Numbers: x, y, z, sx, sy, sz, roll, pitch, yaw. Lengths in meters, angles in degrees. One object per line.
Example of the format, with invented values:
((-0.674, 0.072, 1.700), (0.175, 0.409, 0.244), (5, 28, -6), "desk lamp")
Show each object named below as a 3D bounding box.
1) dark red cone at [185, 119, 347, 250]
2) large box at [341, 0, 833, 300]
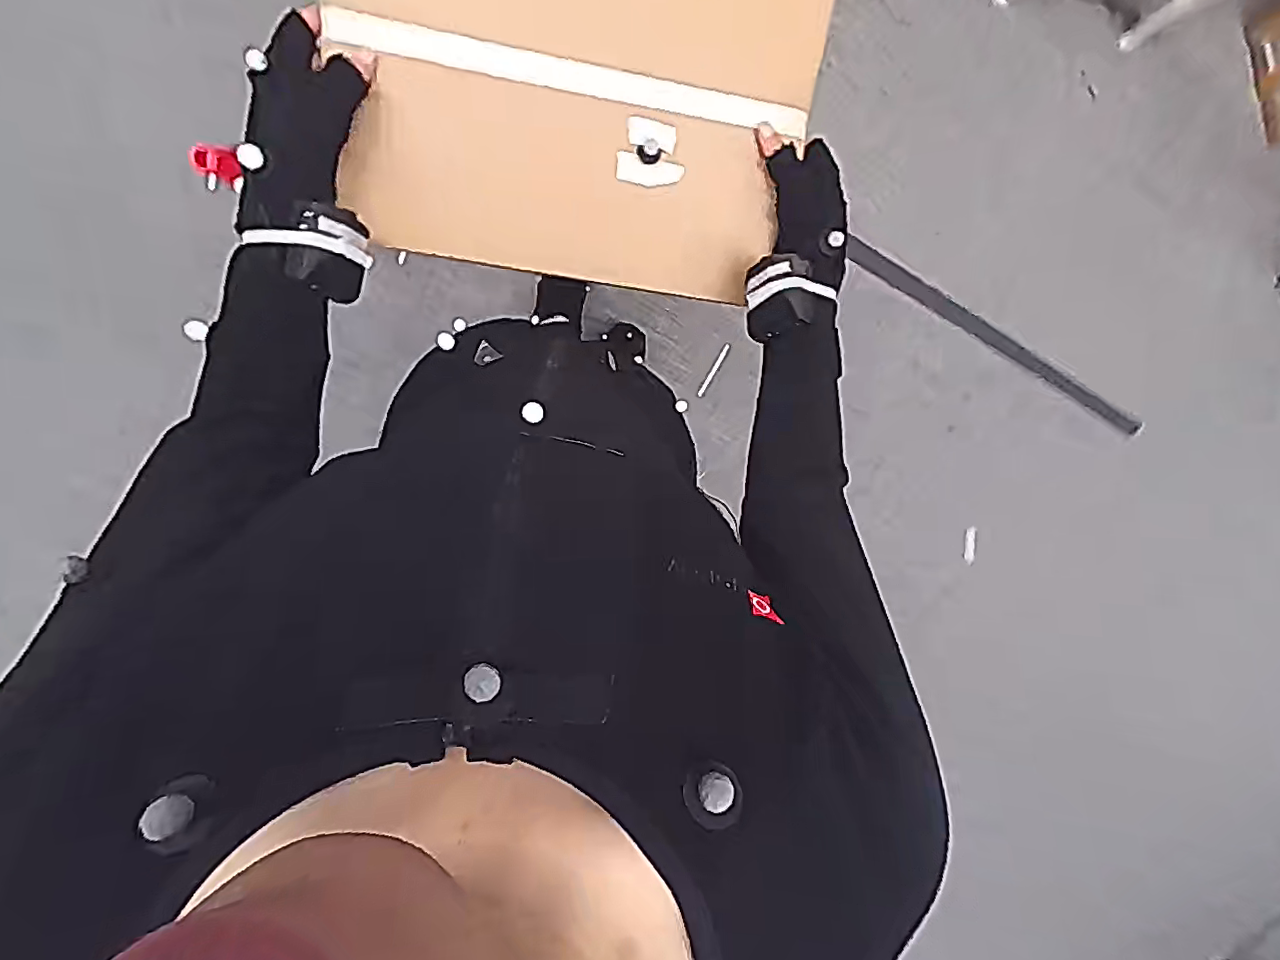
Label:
((-0.717, -0.577, 1.026), (0.201, 0.394, 0.202), (30, 107, -16), "dark red cone")
((-0.063, -0.393, 0.599), (0.408, 0.320, 0.320), (7, 110, -10), "large box")
